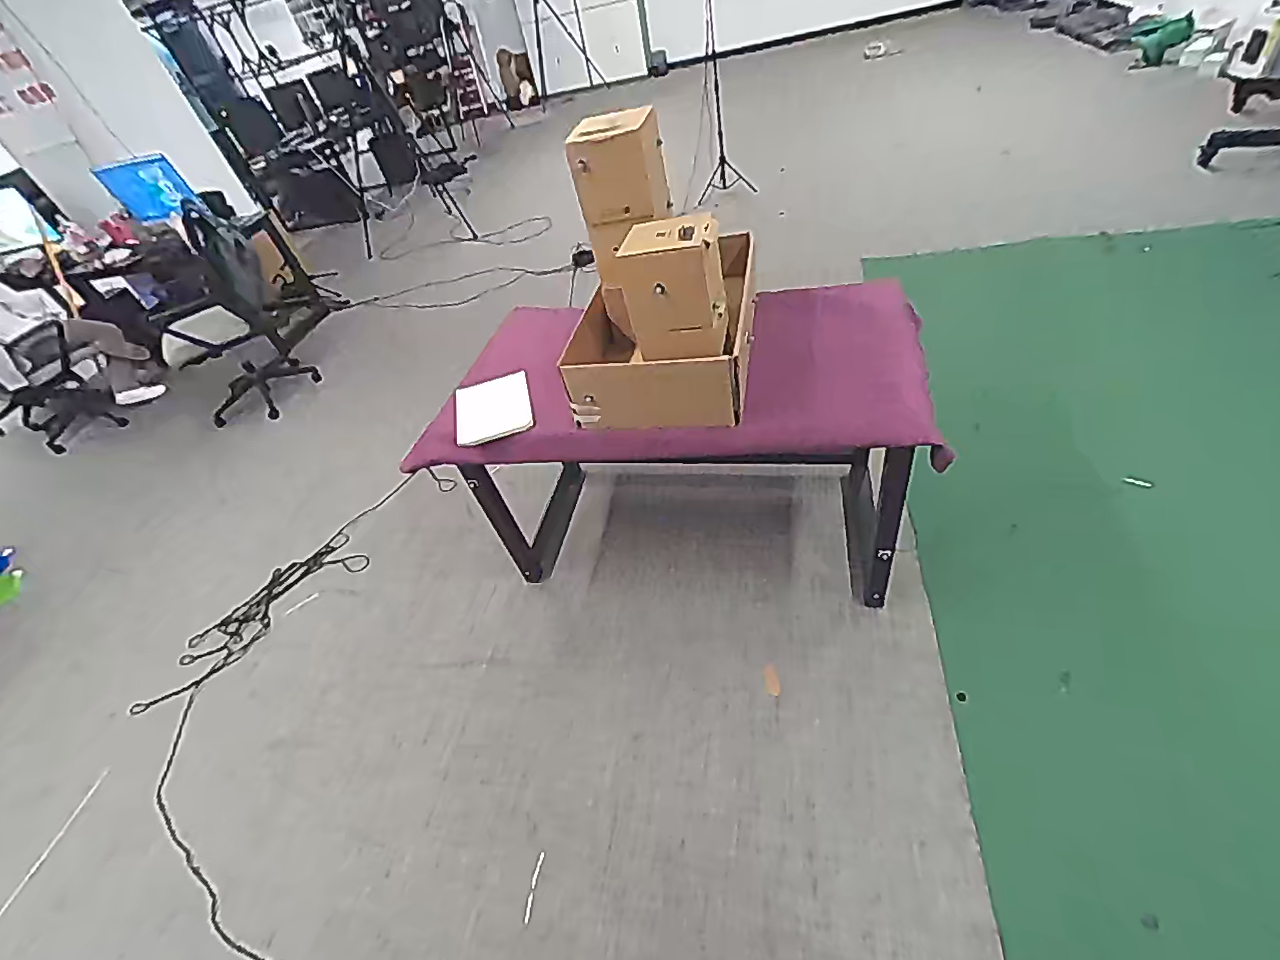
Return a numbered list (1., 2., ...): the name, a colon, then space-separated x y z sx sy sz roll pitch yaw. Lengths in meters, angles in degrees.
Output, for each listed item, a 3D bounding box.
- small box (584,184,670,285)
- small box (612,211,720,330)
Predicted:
1. small box: -0.016 -0.593 1.324 0.168 0.176 0.179 2 48 18
2. small box: 0.065 -0.432 1.130 0.179 0.176 0.168 0 45 20
